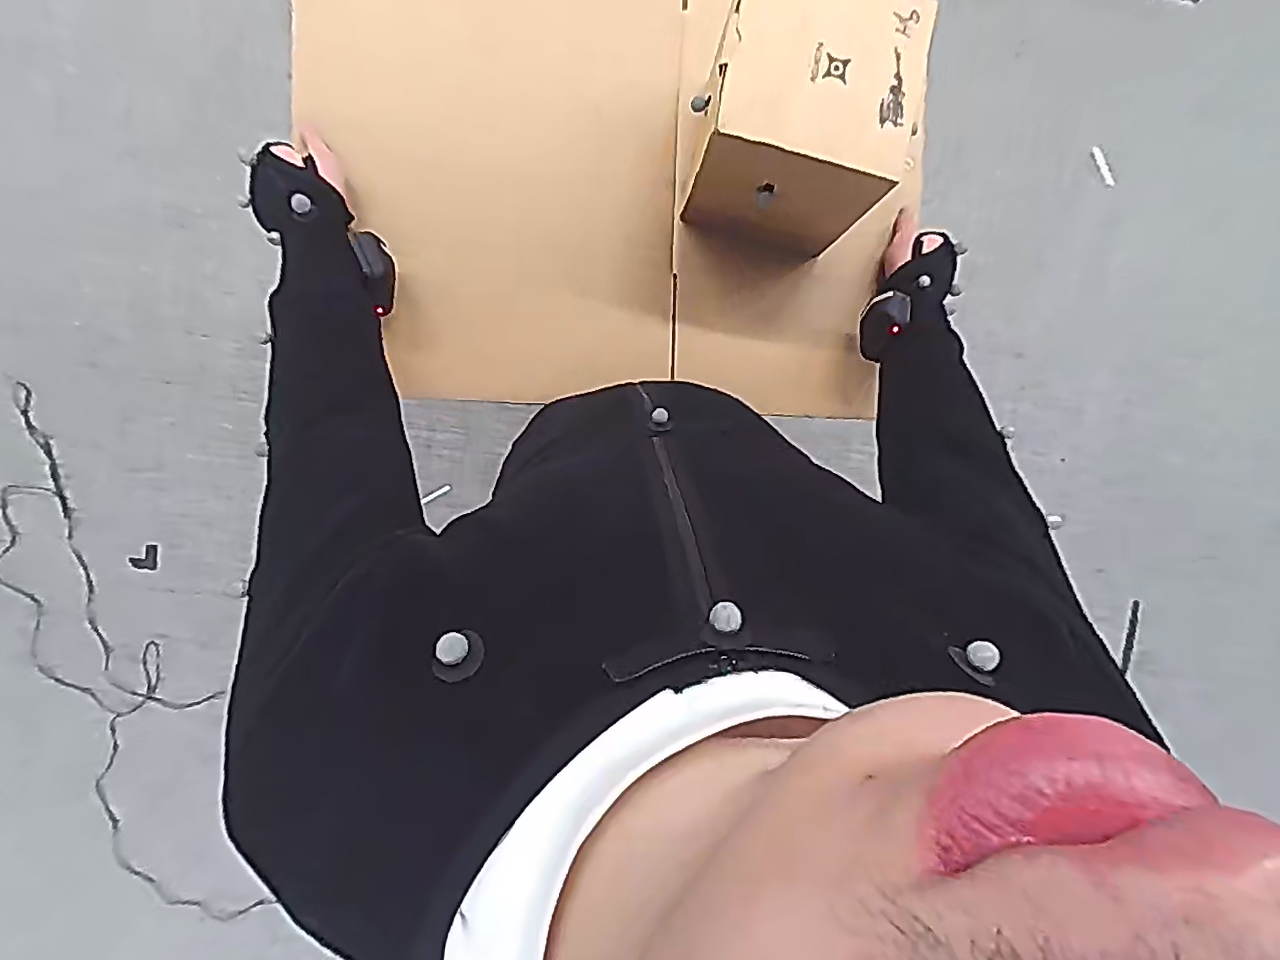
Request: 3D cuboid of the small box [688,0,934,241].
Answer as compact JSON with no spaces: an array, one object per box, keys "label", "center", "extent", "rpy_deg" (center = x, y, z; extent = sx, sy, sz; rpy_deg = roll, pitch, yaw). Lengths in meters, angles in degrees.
[{"label":"small box","center":[0.156,-0.371,0.555],"extent":[0.179,0.176,0.168],"rpy_deg":[11,91,-5]}]
